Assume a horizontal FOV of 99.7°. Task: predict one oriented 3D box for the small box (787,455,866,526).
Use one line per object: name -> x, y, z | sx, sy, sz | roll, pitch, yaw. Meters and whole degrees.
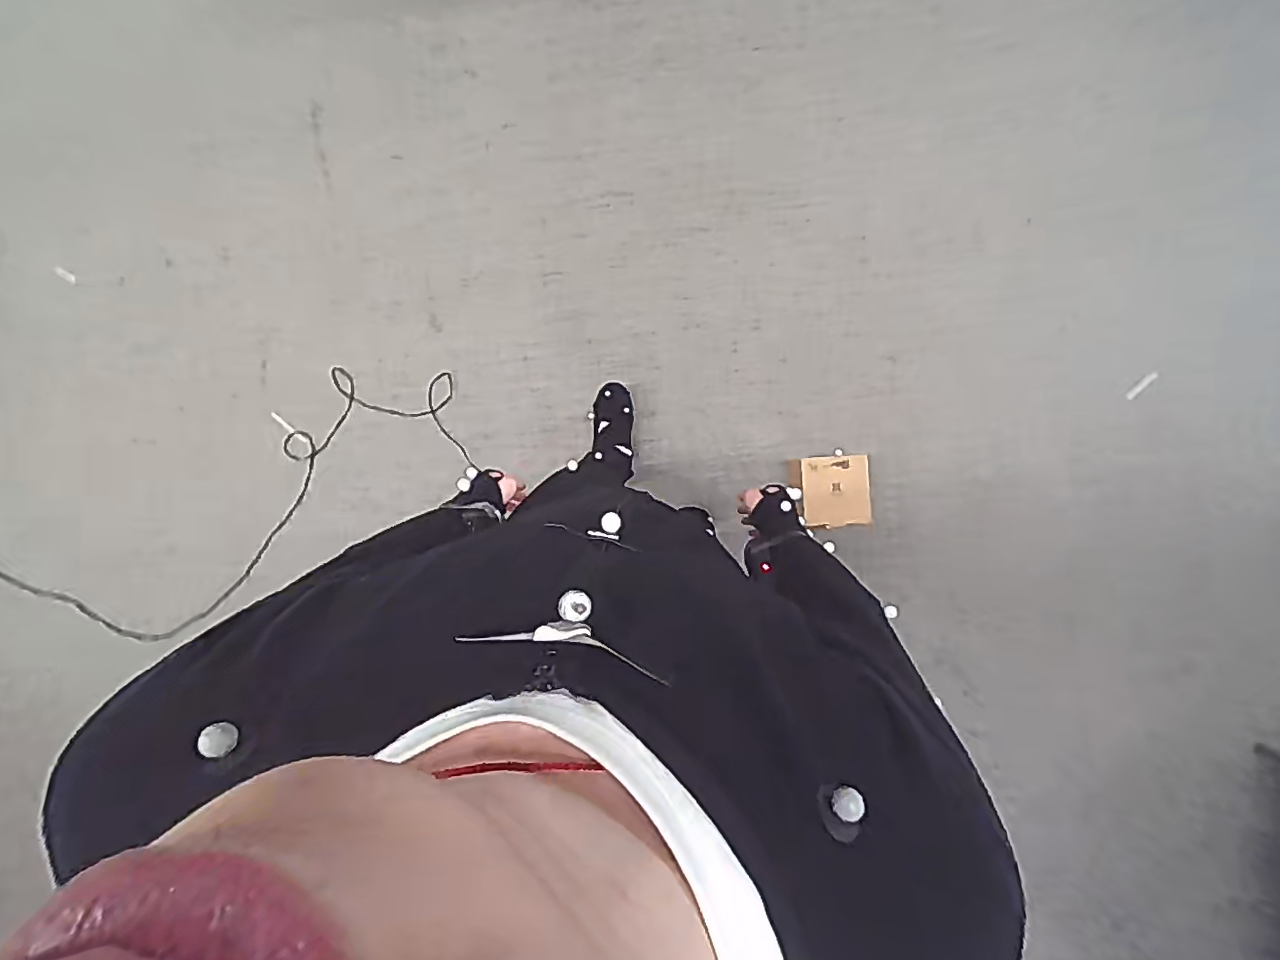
small box -> 0.494, 0.024, 1.447 | 0.168, 0.176, 0.179 | -3, 91, 4
